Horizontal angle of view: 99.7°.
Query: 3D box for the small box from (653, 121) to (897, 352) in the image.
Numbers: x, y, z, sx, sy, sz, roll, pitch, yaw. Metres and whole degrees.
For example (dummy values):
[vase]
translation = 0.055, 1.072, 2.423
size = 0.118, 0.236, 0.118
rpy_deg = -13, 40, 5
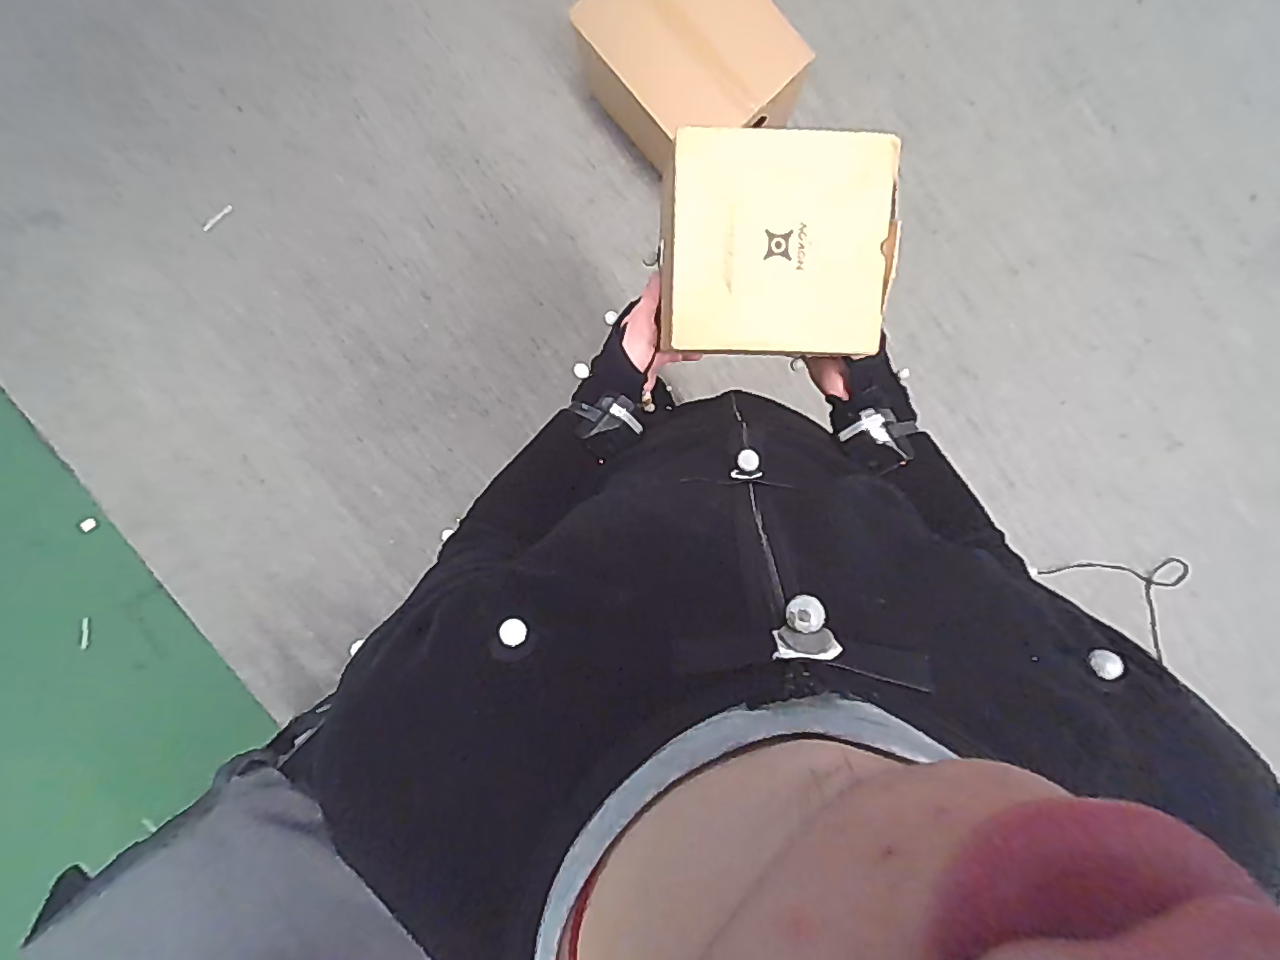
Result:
[small box]
translation = 0.106, -0.207, 0.504
size = 0.179, 0.176, 0.168
rpy_deg = 0, 102, -2
